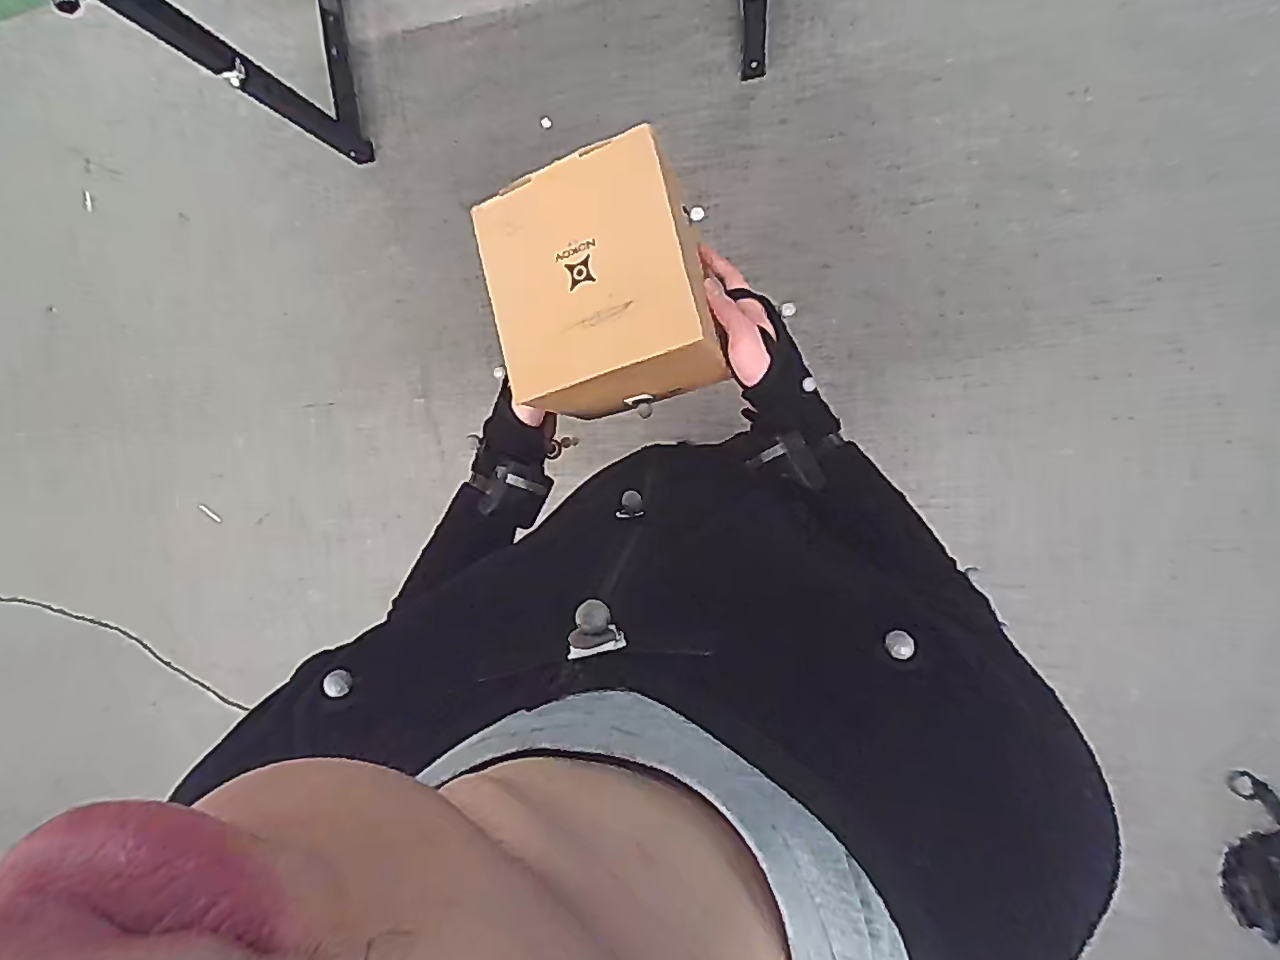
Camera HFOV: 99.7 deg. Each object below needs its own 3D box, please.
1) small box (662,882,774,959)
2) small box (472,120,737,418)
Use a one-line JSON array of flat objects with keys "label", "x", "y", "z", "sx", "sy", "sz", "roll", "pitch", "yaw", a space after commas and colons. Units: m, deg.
[{"label": "small box", "x": 0.143, "y": 0.848, "z": 0.941, "sx": 0.168, "sy": 0.176, "sz": 0.179, "roll": -11, "pitch": 97, "yaw": 11}, {"label": "small box", "x": -0.020, "y": -0.168, "z": 0.499, "sx": 0.168, "sy": 0.176, "sz": 0.179, "roll": -18, "pitch": 85, "yaw": 19}]
